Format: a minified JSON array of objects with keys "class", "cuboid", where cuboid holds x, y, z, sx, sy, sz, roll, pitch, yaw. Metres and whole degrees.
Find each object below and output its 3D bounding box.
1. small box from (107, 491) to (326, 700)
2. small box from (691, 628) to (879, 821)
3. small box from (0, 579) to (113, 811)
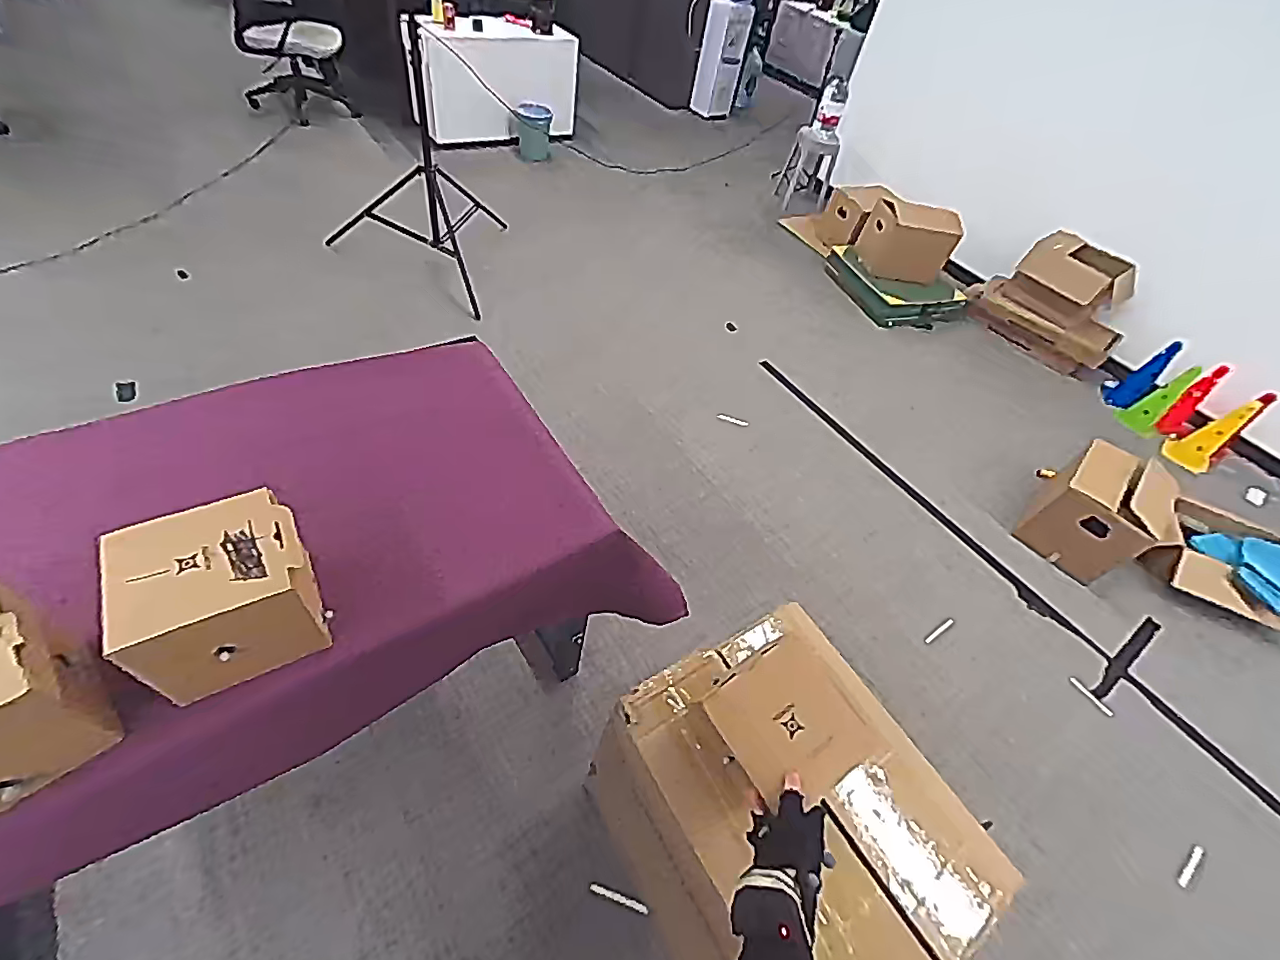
[{"class":"small box","cuboid":[-0.524,0.148,0.691,0.179,0.176,0.168,-20,56,-25]},{"class":"small box","cuboid":[0.189,0.341,0.768,0.168,0.176,0.179,-33,71,-15]},{"class":"small box","cuboid":[-0.712,0.244,0.568,0.168,0.176,0.179,40,52,22]}]
